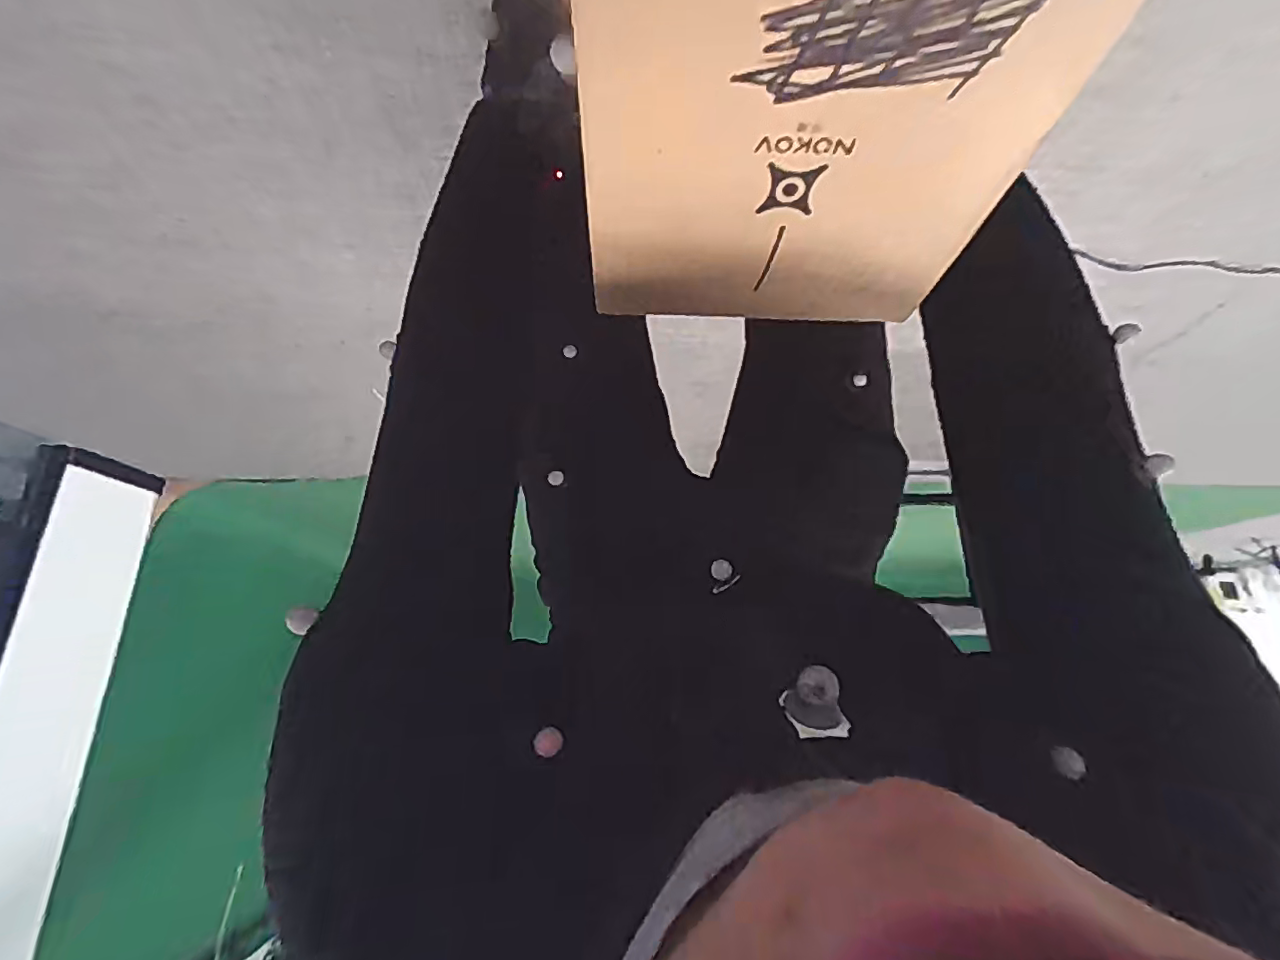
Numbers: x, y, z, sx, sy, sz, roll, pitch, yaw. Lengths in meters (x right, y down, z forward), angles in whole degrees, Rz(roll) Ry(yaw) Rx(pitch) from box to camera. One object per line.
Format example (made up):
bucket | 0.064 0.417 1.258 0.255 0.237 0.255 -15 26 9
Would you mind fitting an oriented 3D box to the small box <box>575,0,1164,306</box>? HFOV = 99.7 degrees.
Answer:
small box | 0.062 -0.195 0.213 0.168 0.176 0.179 2 159 -1
